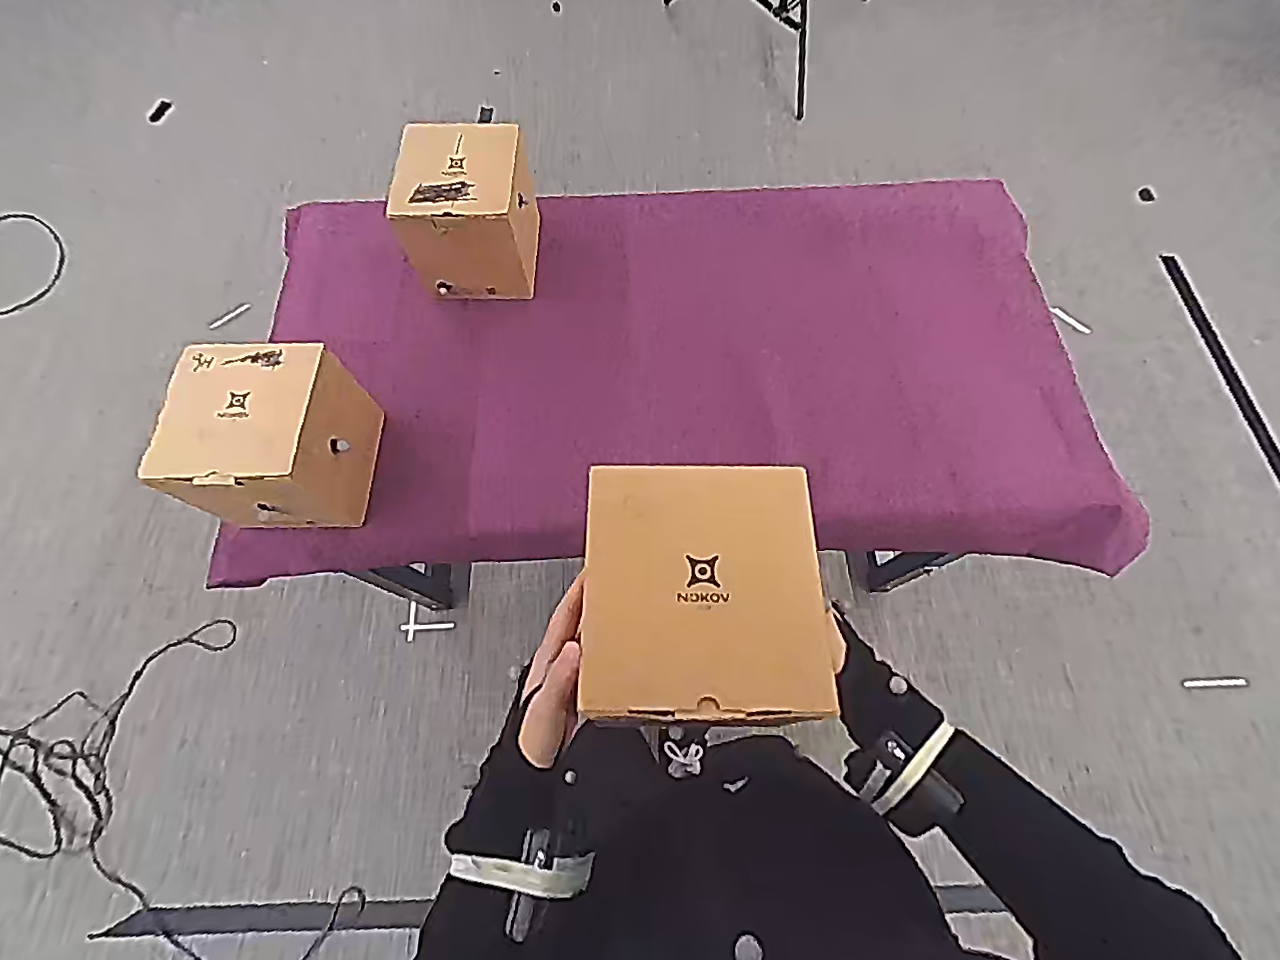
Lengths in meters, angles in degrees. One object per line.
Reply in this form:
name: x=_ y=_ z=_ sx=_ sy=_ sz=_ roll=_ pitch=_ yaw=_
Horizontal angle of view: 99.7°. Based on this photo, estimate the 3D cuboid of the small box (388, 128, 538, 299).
small box: x=-0.254 y=-0.395 z=0.822 sx=0.168 sy=0.176 sz=0.179 roll=0 pitch=69 yaw=0

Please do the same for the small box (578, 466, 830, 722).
small box: x=0.040 y=0.103 z=0.452 sx=0.168 sy=0.176 sz=0.179 roll=1 pitch=65 yaw=-1

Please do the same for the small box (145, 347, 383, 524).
small box: x=-0.449 y=-0.046 z=0.682 sx=0.168 sy=0.176 sz=0.179 roll=-1 pitch=68 yaw=-1
